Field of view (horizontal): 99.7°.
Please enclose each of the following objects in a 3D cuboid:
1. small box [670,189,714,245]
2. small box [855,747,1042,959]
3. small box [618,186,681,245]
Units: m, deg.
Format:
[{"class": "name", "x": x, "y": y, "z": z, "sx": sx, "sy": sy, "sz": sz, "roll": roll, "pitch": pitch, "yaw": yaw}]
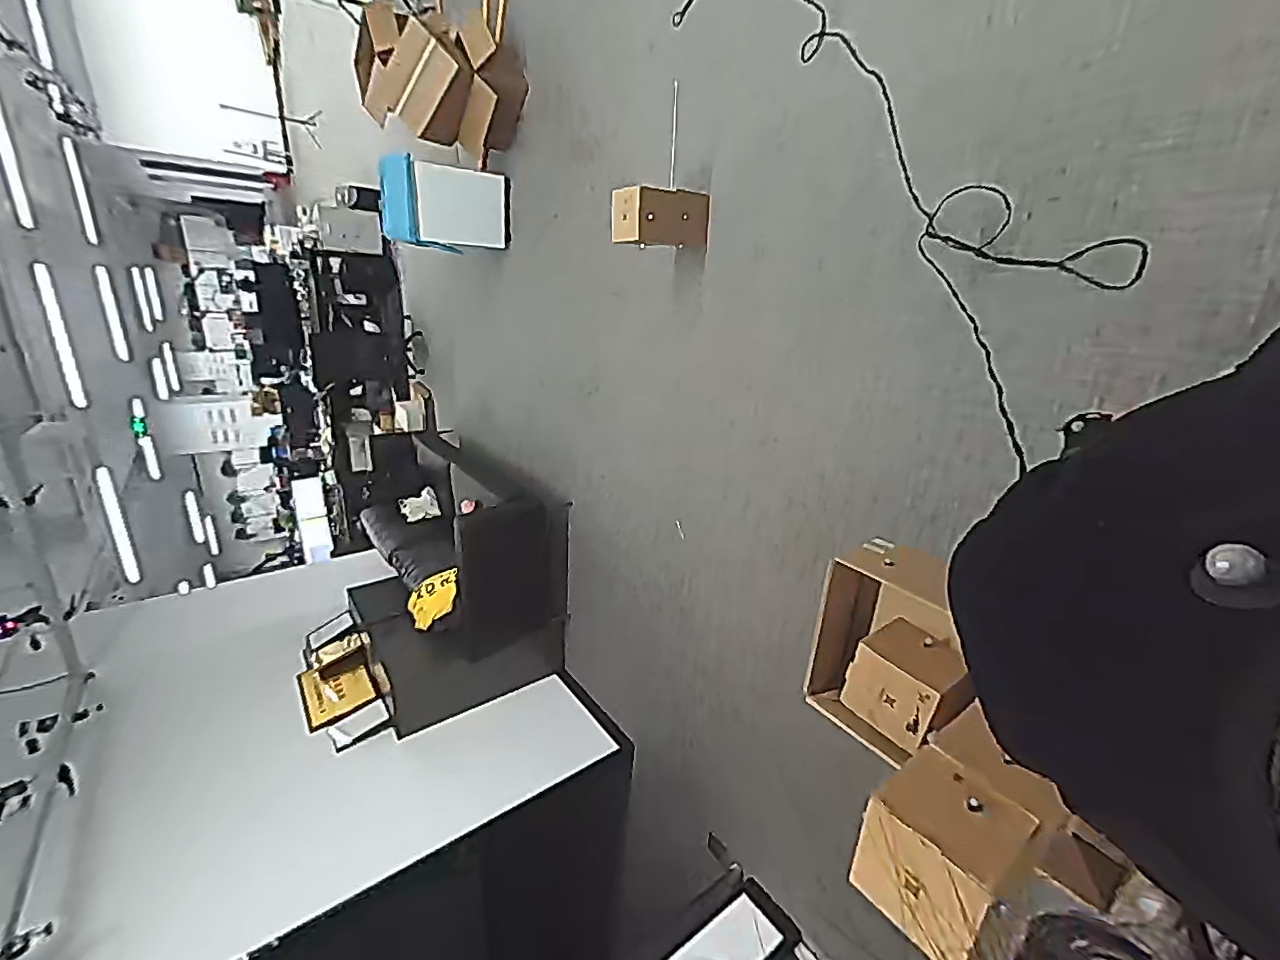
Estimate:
[{"class": "small box", "x": 0.167, "y": -0.993, "z": 2.057, "sx": 0.168, "sy": 0.176, "sz": 0.179, "roll": 25, "pitch": 119, "yaw": 49}, {"class": "small box", "x": 0.445, "y": 0.537, "z": 0.786, "sx": 0.168, "sy": 0.176, "sz": 0.179, "roll": 26, "pitch": 120, "yaw": 49}, {"class": "small box", "x": 0.034, "y": -0.955, "z": 1.967, "sx": 0.168, "sy": 0.176, "sz": 0.179, "roll": 25, "pitch": 119, "yaw": 48}]
